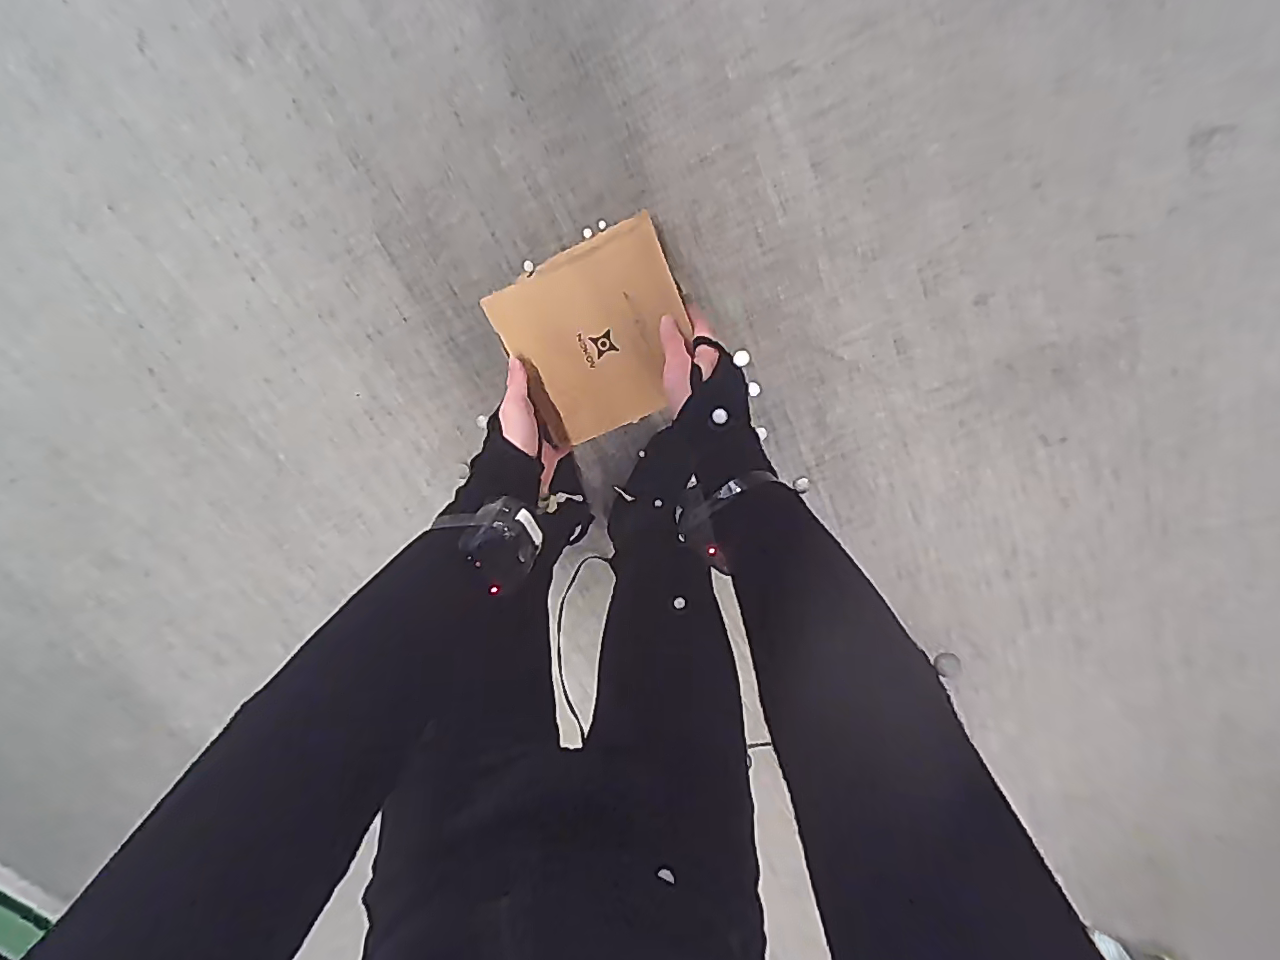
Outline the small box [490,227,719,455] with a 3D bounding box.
[{"bbox_3d":[-0.032,-0.155,0.593,0.179,0.176,0.168,-24,112,8],"label":"small box"}]
